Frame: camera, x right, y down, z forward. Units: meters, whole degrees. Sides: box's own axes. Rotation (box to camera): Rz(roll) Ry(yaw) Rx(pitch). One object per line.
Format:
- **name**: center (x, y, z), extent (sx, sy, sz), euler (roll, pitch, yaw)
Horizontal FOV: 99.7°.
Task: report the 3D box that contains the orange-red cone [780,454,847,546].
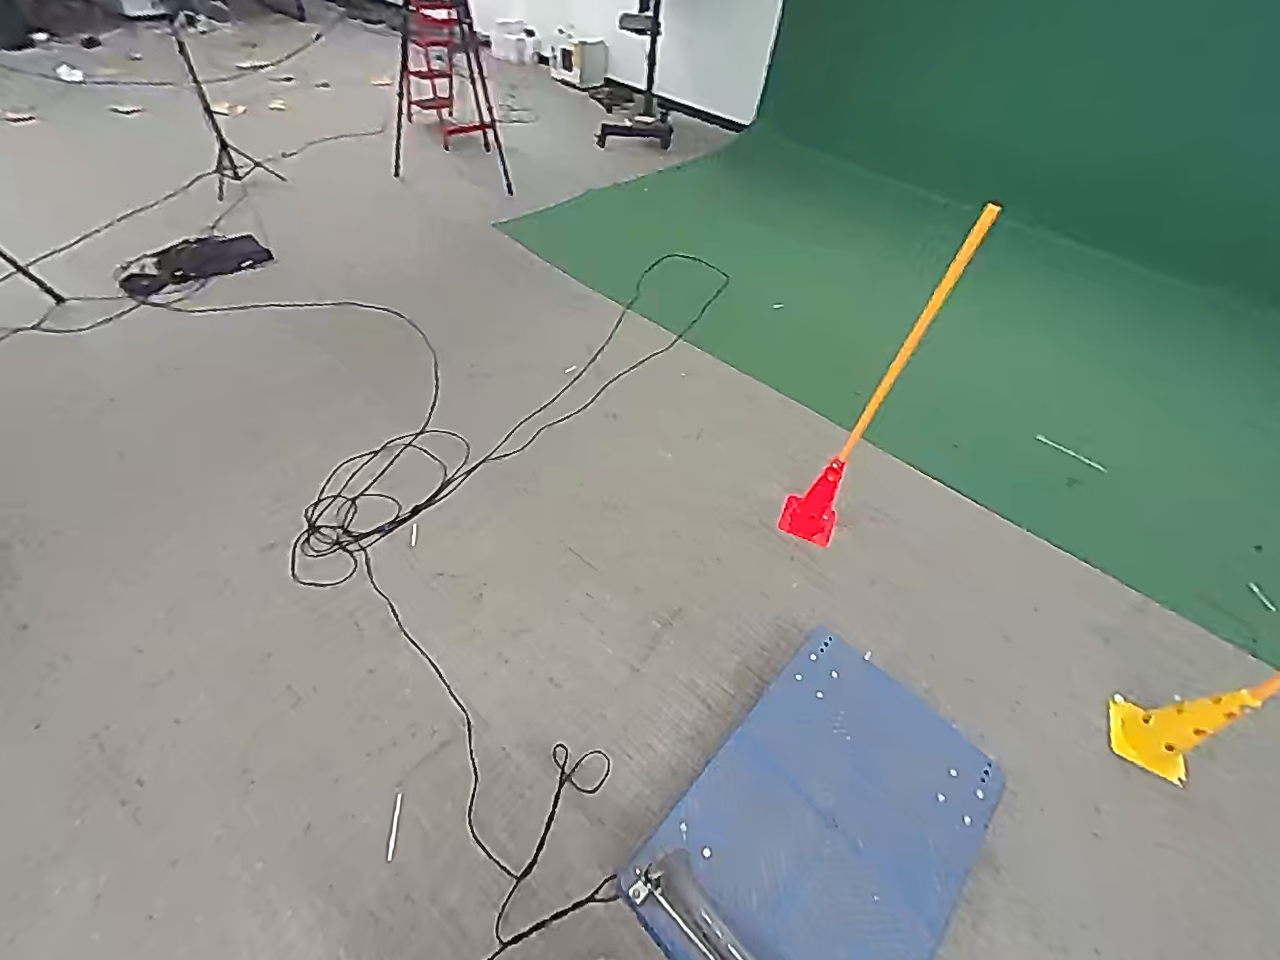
- **orange-red cone**: center (0.668, 0.042, 1.963), extent (0.199, 0.360, 0.198), euler (22, 50, 14)
